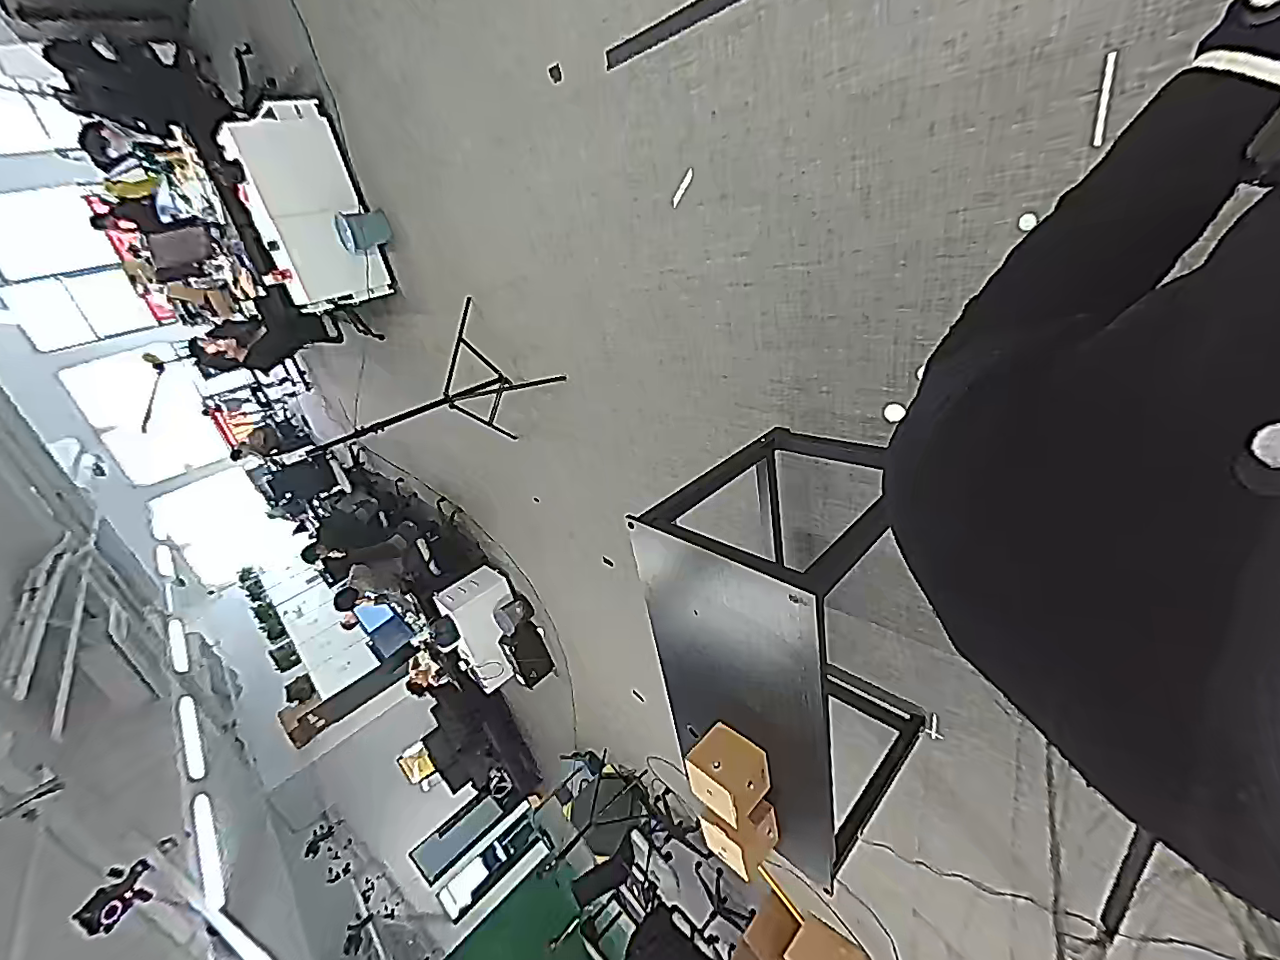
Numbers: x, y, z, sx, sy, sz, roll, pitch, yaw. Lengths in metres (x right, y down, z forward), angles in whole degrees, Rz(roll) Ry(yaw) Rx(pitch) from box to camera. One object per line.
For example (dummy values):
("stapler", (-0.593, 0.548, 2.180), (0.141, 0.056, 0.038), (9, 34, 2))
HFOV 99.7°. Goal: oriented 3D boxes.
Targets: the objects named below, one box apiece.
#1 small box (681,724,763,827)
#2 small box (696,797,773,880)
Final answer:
("small box", (0.250, 0.866, 1.606), (0.179, 0.176, 0.168), (18, 128, 46))
("small box", (0.303, 1.099, 1.716), (0.168, 0.176, 0.179), (16, 127, 46))
